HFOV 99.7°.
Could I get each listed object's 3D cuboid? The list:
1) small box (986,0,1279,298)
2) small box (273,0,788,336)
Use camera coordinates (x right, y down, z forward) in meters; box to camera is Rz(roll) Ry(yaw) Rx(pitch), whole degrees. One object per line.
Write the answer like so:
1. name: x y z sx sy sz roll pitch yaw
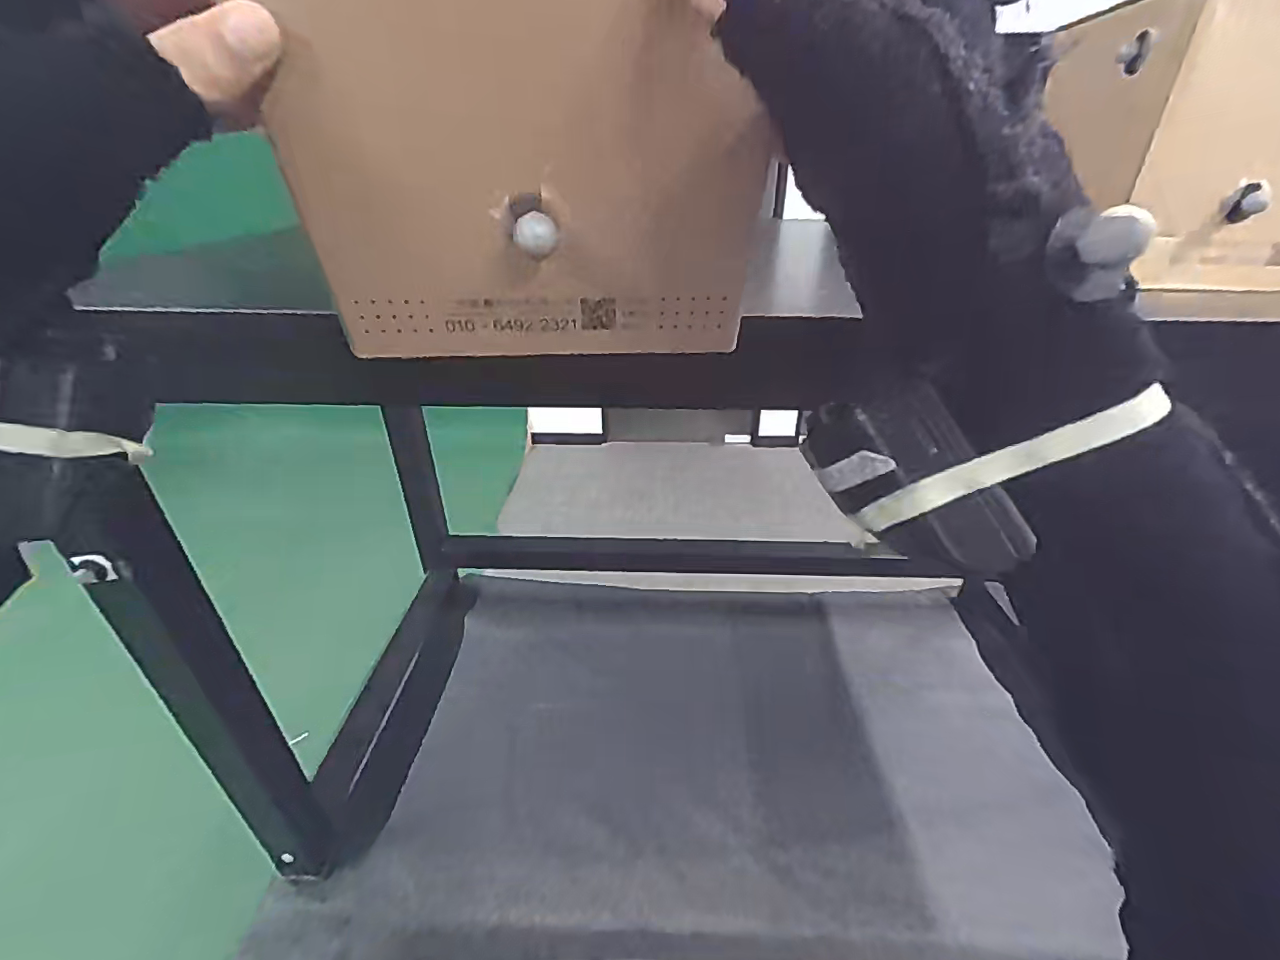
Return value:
1. small box: 0.395 -0.241 0.398 0.168 0.176 0.179 3 30 5
2. small box: -0.042 -0.183 0.244 0.168 0.176 0.179 -2 45 -4
